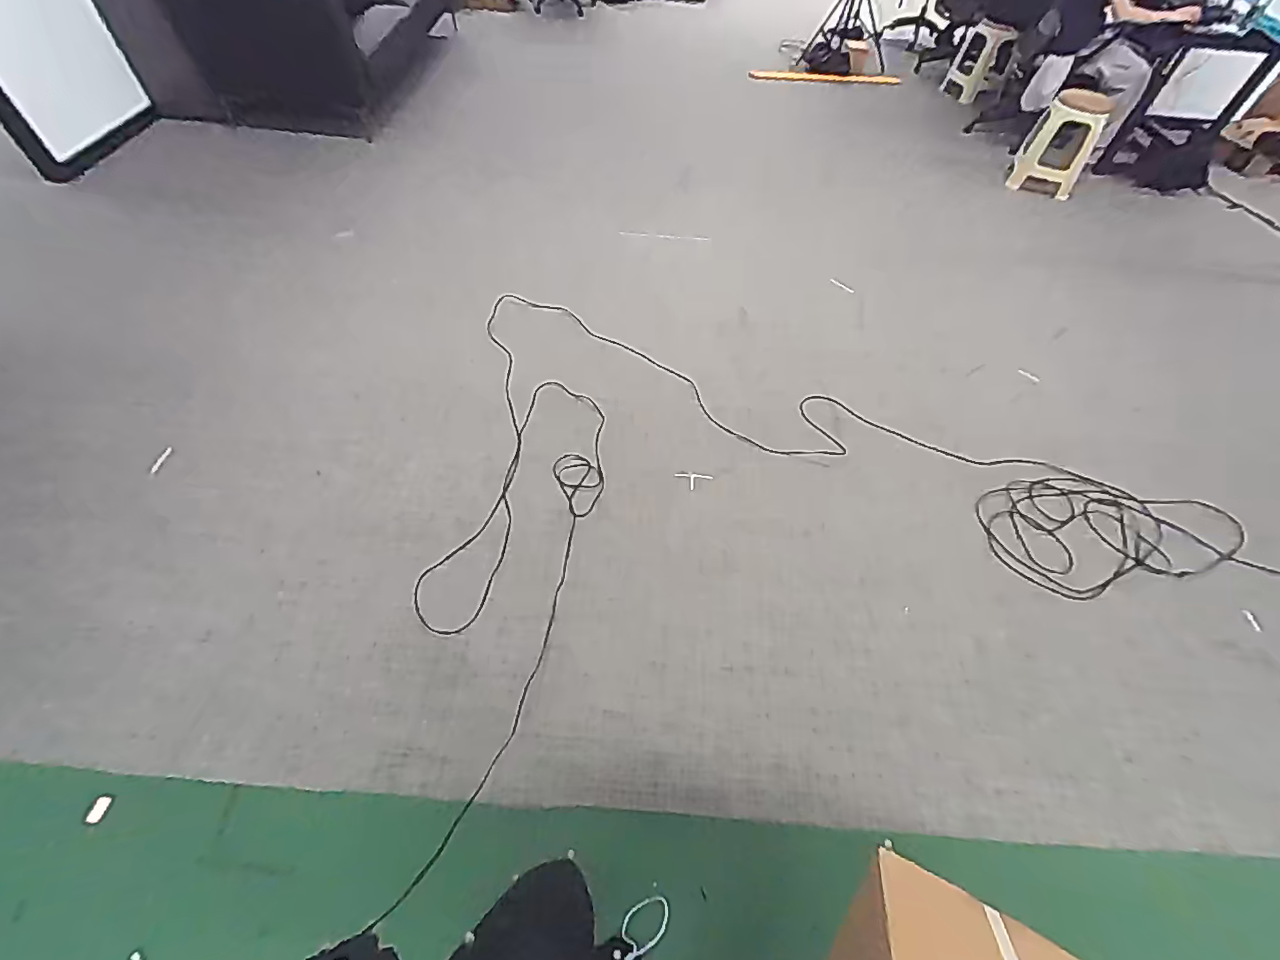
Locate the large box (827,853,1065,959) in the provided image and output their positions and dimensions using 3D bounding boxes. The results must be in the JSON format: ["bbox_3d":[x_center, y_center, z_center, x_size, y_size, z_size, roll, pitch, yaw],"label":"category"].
[{"bbox_3d":[0.377,0.766,0.616,0.320,0.408,0.320,24,97,19],"label":"large box"}]
